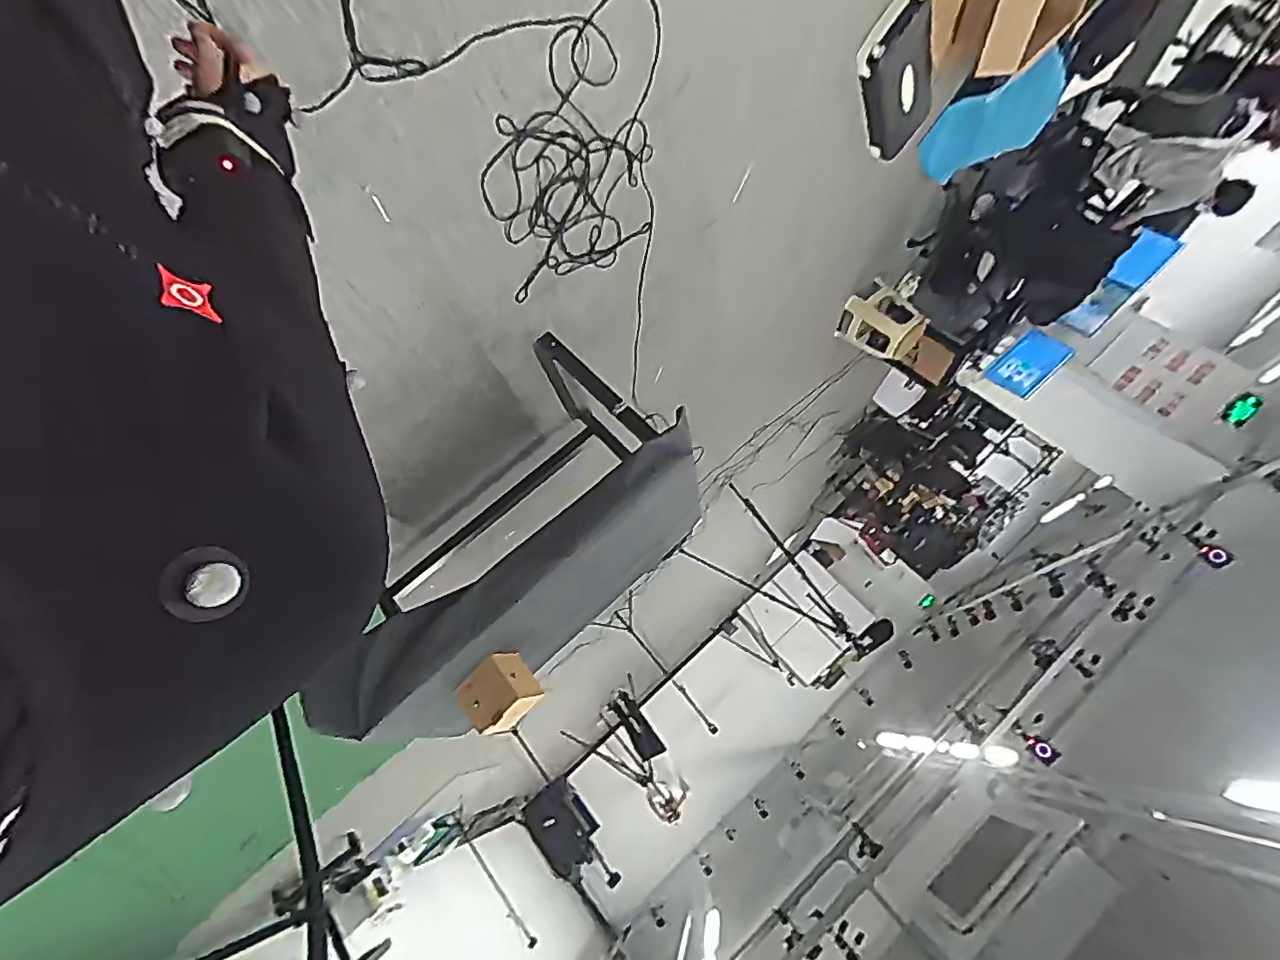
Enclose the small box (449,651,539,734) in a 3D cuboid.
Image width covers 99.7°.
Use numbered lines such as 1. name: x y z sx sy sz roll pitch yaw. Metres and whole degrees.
1. small box: -0.455 0.651 1.678 0.168 0.176 0.179 -43 158 1
